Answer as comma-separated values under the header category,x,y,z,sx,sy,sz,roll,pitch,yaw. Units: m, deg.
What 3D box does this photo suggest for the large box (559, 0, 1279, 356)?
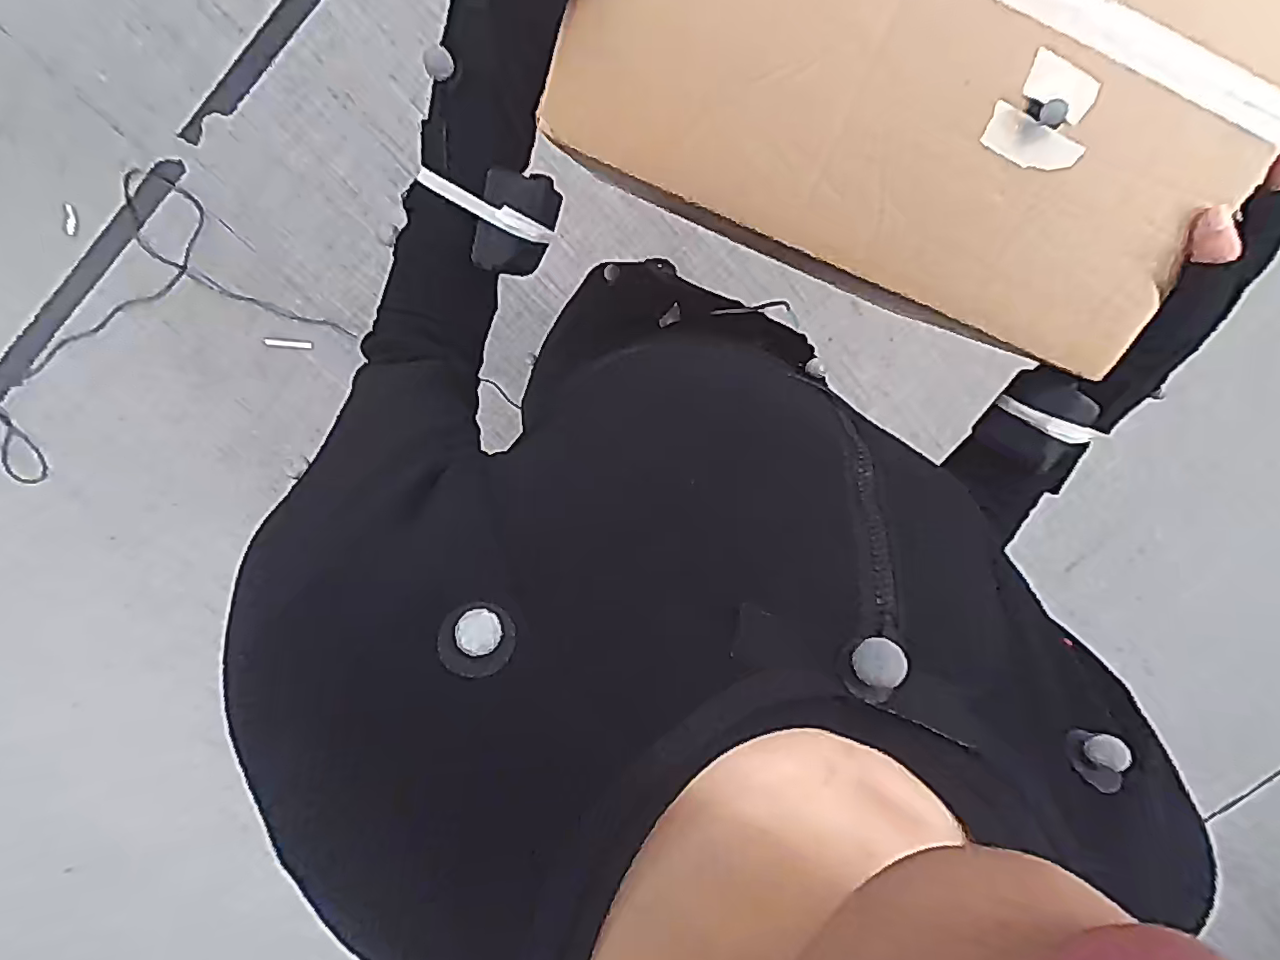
category,x,y,z,sx,sy,sz,roll,pitch,yaw
large box,0.188,-0.343,0.429,0.408,0.320,0.320,21,115,-9
